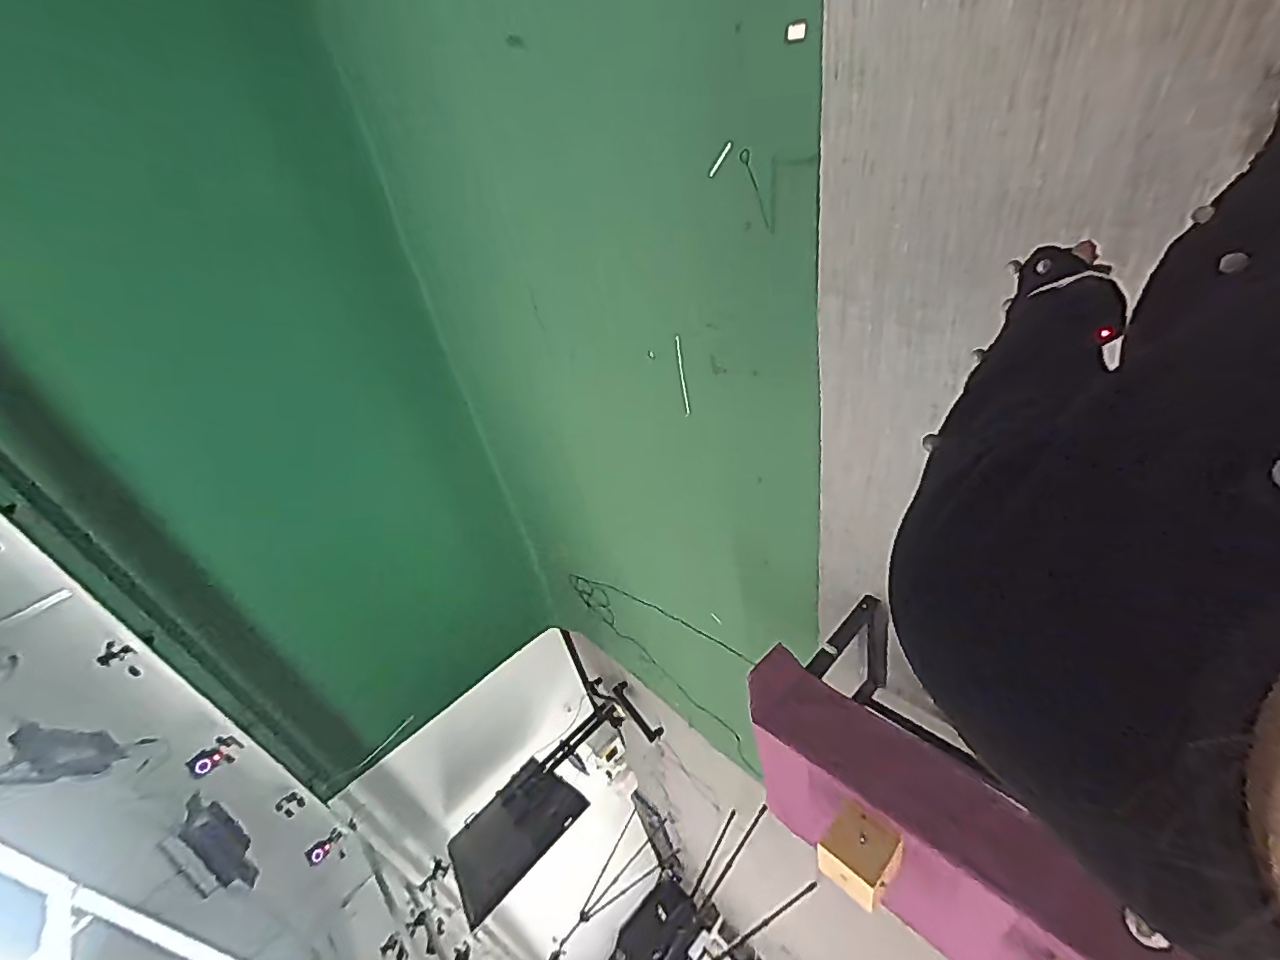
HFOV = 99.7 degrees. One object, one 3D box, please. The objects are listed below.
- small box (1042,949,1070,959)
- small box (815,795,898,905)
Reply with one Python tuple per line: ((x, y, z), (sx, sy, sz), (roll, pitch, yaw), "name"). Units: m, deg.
((0.973, 1.212, 1.201), (0.179, 0.176, 0.168), (24, 139, 44), "small box")
((0.622, 1.056, 1.556), (0.168, 0.176, 0.179), (24, 139, 43), "small box")
